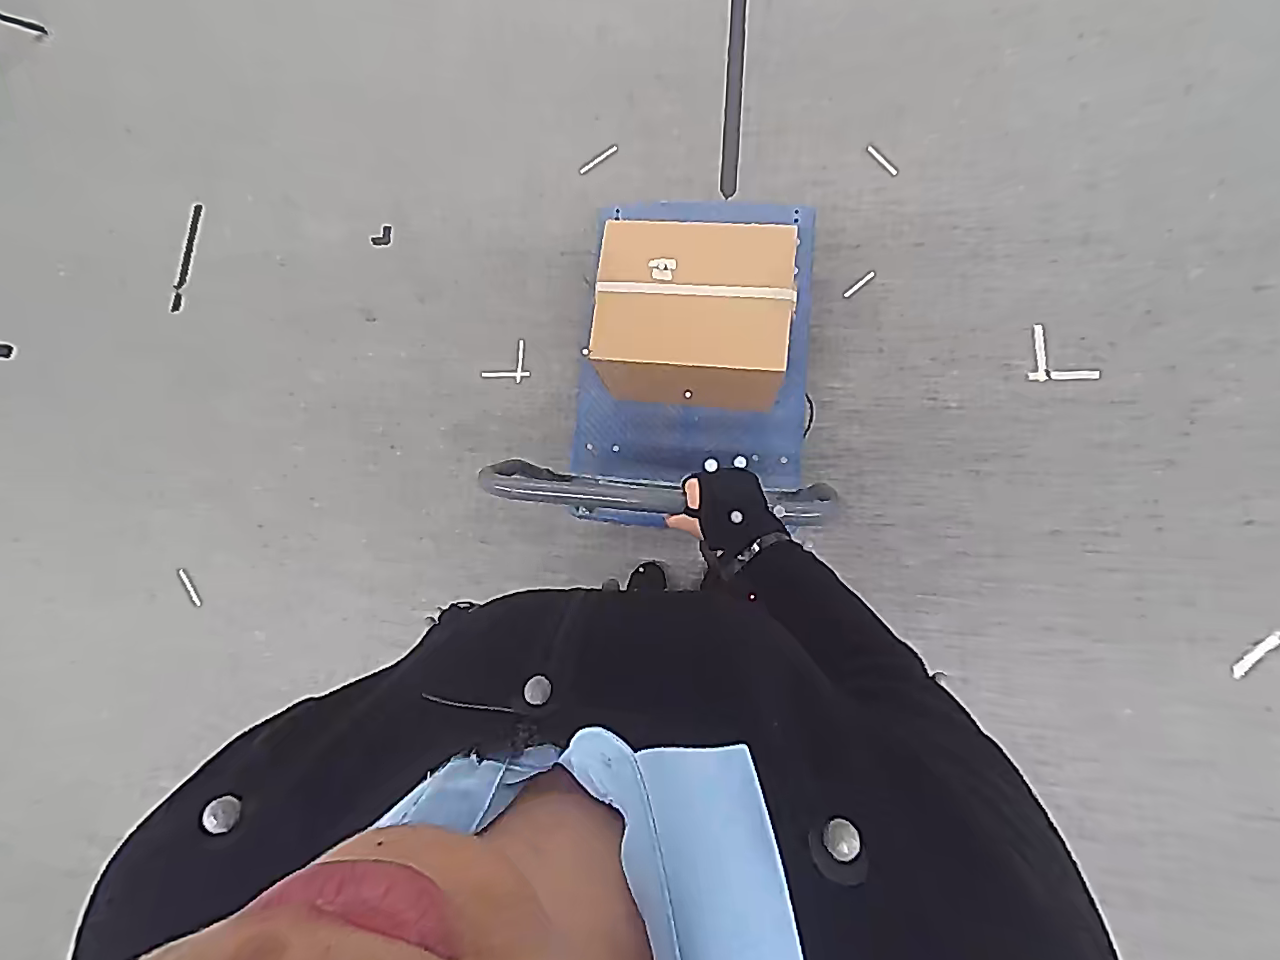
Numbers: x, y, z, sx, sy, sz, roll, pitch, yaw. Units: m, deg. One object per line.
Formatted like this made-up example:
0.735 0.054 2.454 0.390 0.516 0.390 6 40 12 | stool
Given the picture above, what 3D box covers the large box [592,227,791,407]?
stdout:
0.130 -0.364 1.272 0.408 0.320 0.320 5 81 9 | large box
